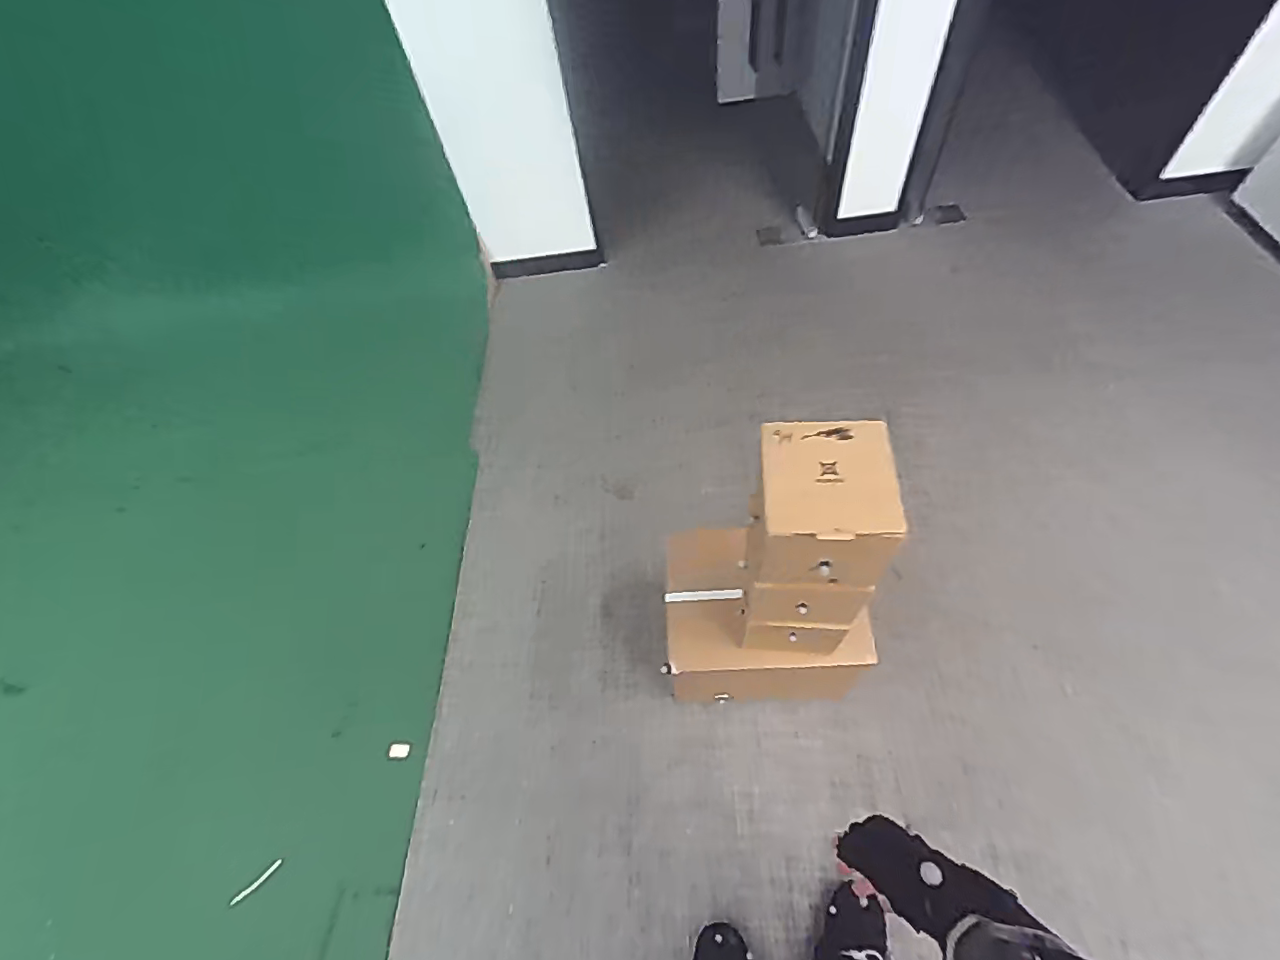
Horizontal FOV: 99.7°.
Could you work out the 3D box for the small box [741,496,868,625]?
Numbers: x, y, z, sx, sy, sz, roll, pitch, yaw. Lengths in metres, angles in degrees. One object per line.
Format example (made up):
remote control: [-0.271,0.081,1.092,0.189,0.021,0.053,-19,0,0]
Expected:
small box: [0.262,0.137,0.902,0.179,0.176,0.168,0,58,9]

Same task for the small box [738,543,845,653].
small box: [0.279,0.227,1.038,0.179,0.176,0.168,1,59,7]

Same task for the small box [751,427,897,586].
small box: [0.247,0.043,0.769,0.168,0.176,0.179,0,59,8]
